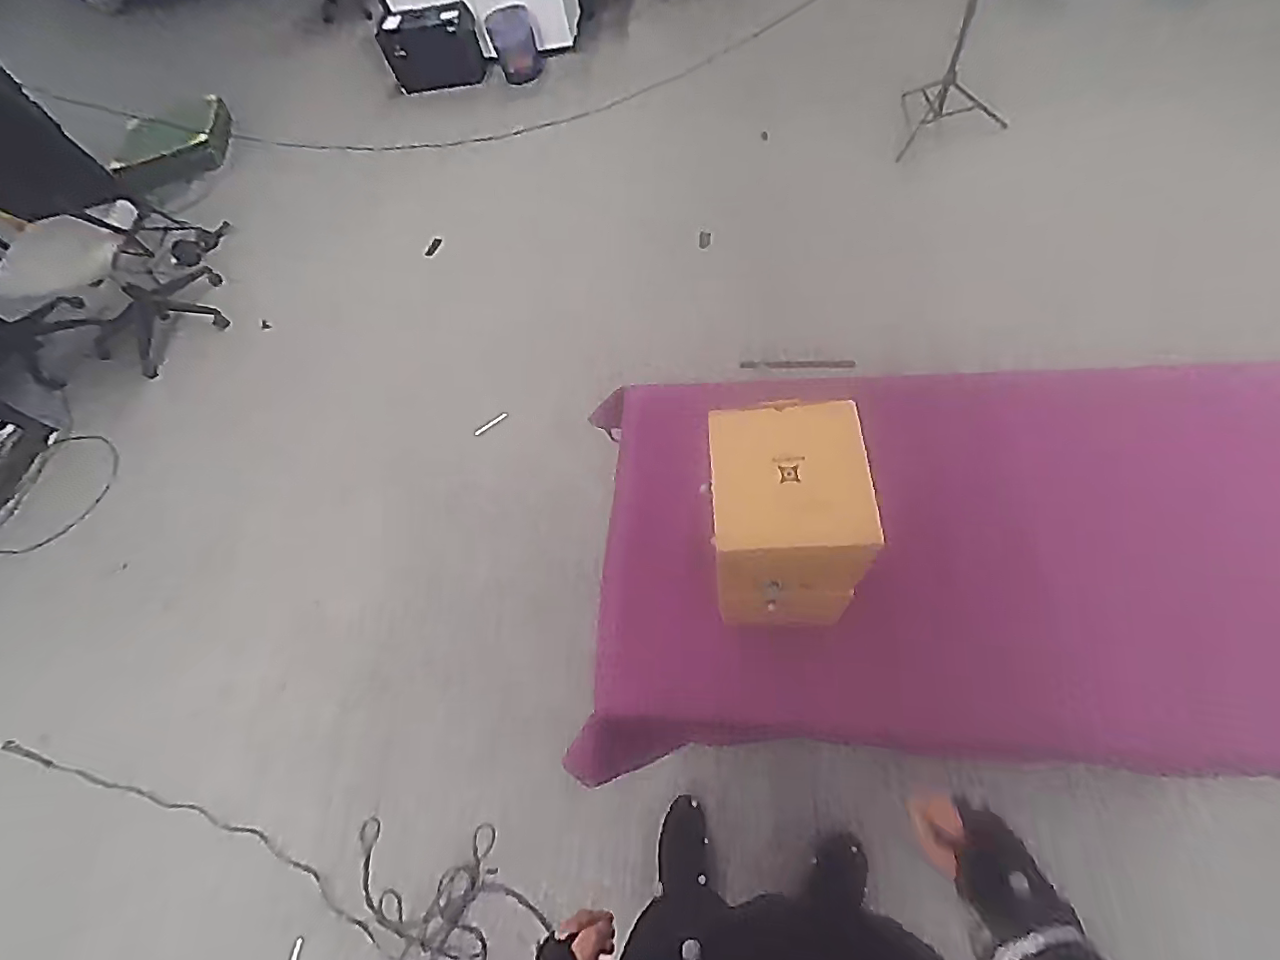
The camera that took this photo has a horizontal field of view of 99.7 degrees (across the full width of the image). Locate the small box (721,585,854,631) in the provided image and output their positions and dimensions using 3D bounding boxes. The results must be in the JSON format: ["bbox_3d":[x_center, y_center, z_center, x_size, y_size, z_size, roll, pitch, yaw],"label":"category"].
[{"bbox_3d":[0.202,0.110,0.788,0.168,0.176,0.179,-2,61,10],"label":"small box"}]

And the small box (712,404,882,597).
[{"bbox_3d":[0.171,0.031,0.648,0.168,0.176,0.179,-3,62,9],"label":"small box"}]
